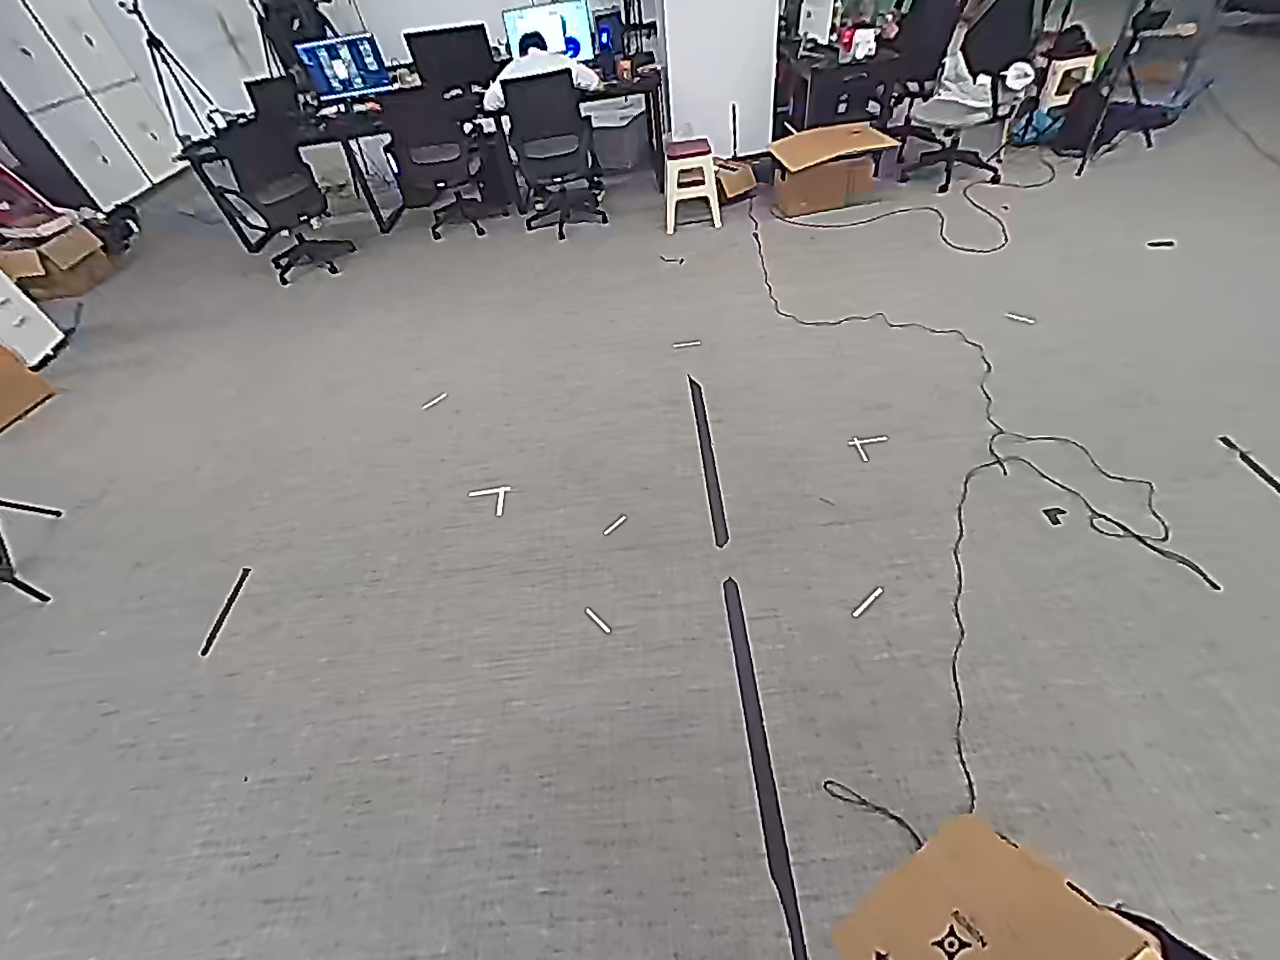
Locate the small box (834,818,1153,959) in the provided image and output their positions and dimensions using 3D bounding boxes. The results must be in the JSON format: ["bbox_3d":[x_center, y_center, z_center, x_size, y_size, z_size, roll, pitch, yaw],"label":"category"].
[{"bbox_3d":[0.299,0.428,0.425,0.179,0.168,0.176,-34,88,-8],"label":"small box"}]
